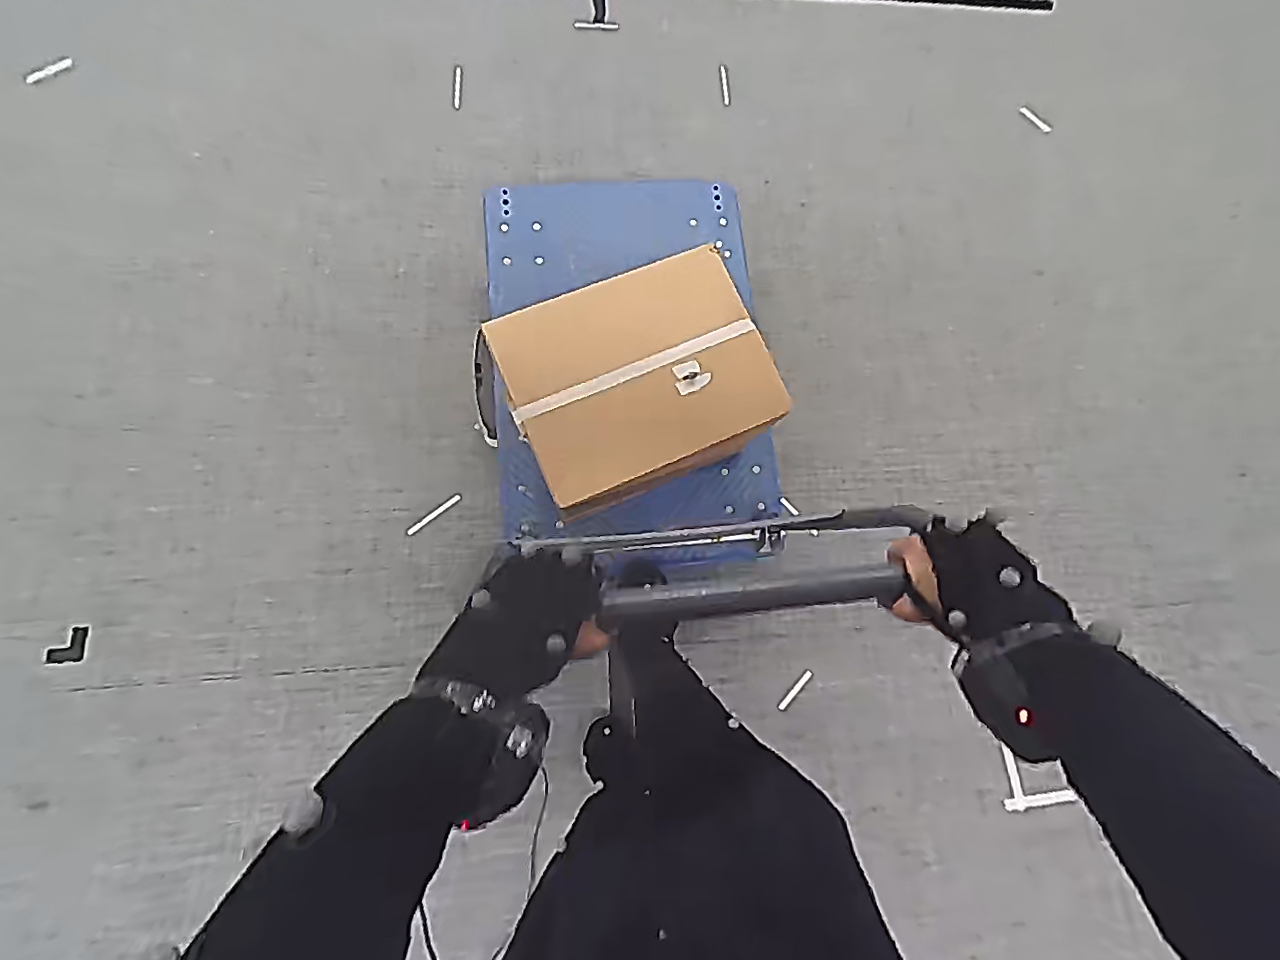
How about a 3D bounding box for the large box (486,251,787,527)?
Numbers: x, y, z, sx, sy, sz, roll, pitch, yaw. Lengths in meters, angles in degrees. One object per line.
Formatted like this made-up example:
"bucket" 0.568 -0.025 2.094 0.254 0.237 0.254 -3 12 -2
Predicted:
"large box" -0.019 -0.142 0.996 0.408 0.320 0.320 -23 85 -10
